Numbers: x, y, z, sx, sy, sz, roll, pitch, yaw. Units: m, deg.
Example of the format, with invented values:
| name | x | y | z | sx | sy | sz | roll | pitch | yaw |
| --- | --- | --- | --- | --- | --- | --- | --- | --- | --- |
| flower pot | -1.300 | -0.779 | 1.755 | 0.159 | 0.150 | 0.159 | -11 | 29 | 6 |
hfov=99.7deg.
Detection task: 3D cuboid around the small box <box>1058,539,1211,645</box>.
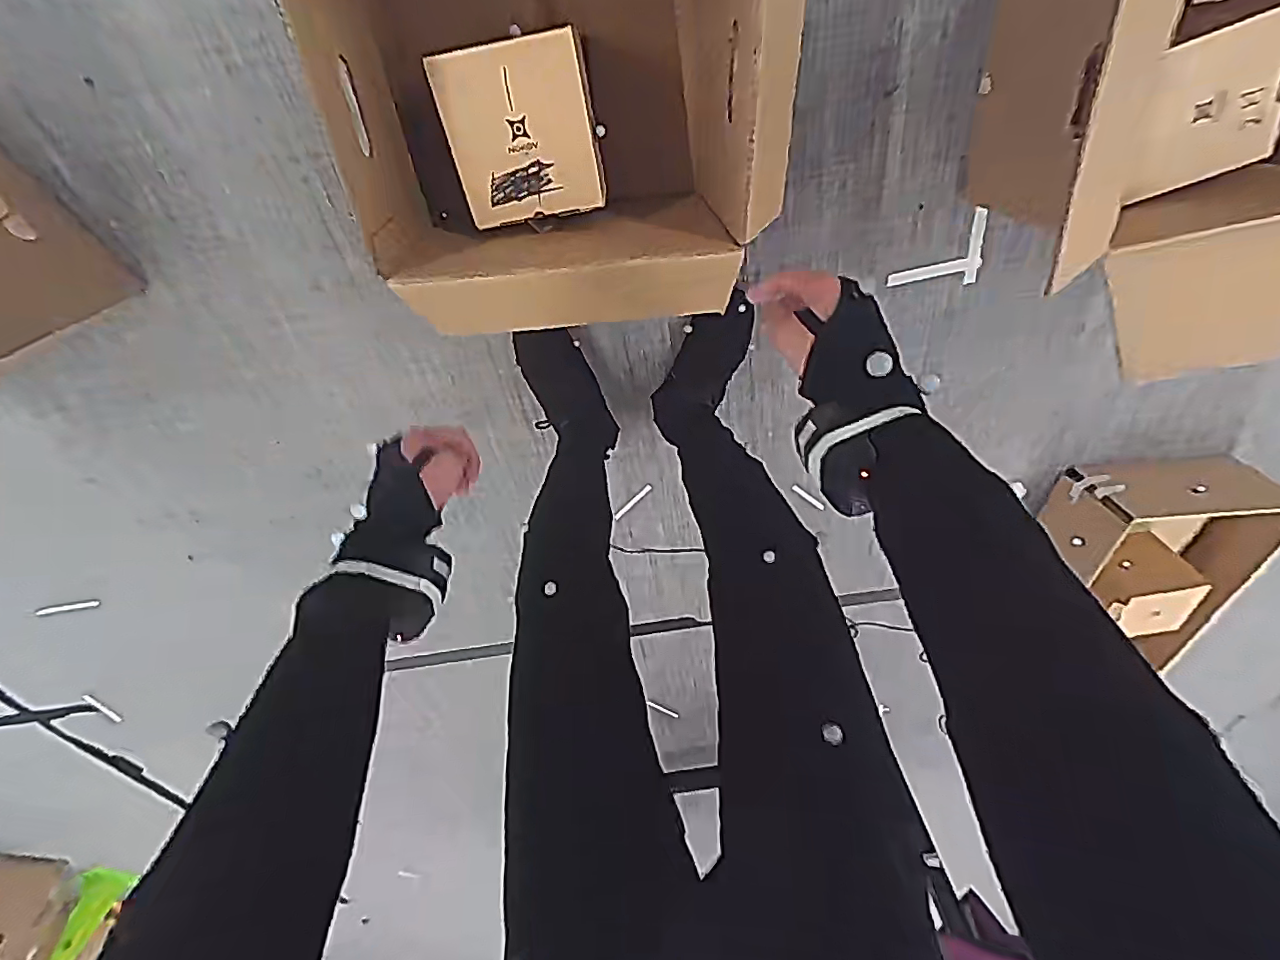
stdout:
| name | x | y | z | sx | sy | sz | roll | pitch | yaw |
| --- | --- | --- | --- | --- | --- | --- | --- | --- | --- |
| small box | 1.142 | 0.260 | 1.270 | 0.179 | 0.176 | 0.168 | -8 | 129 | 2 |
